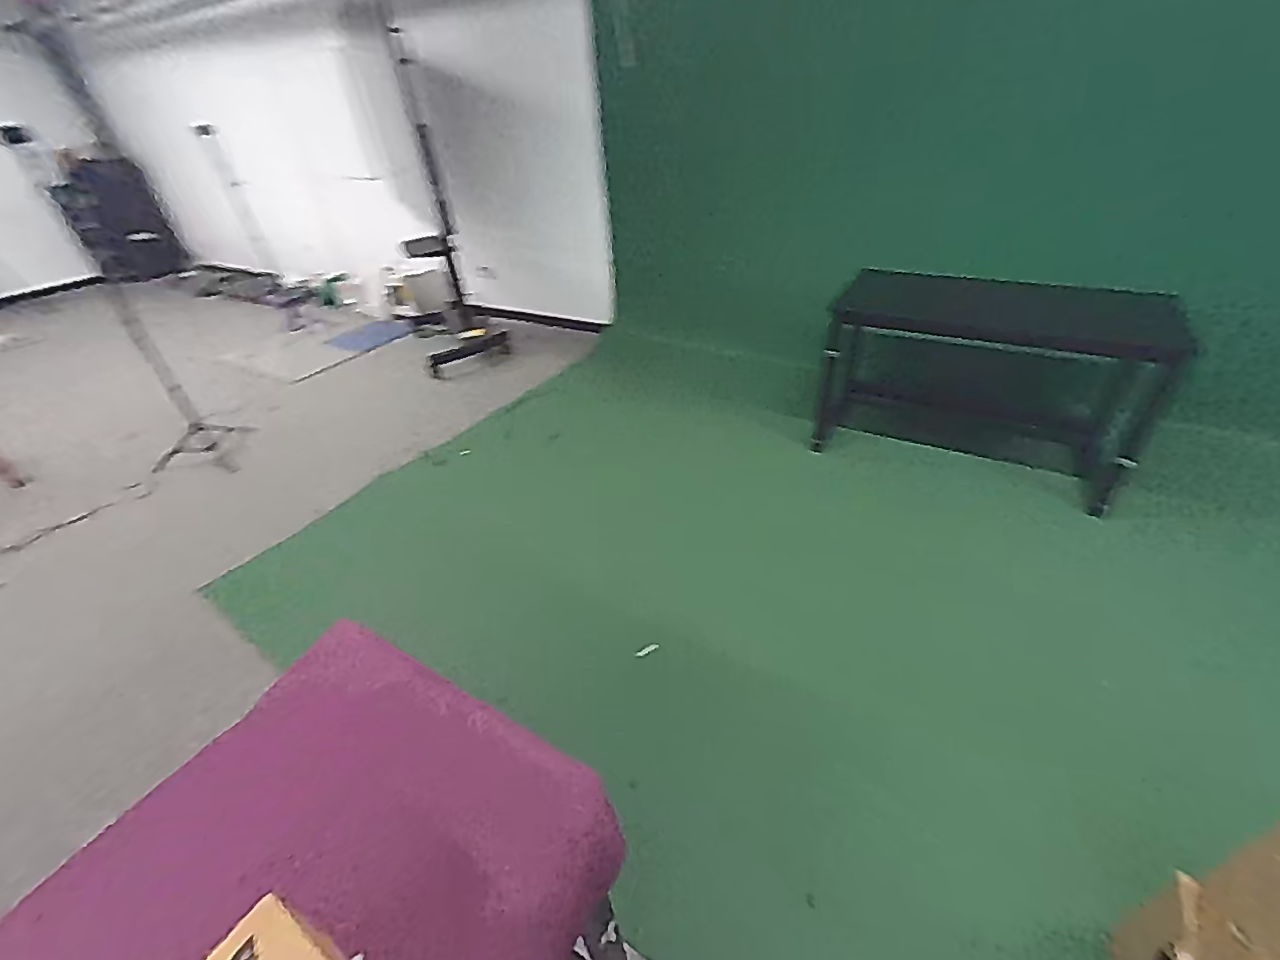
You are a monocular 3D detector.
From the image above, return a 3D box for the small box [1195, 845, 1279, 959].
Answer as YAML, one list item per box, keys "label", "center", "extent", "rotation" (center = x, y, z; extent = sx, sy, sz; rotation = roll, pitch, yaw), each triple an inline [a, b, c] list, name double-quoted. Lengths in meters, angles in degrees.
- label: "small box"
  center: [1.004, 0.721, 0.826]
  extent: [0.168, 0.176, 0.179]
  rotation: [19, 42, 28]

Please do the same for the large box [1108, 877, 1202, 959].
- label: "large box"
  center: [1.082, 0.972, 0.882]
  extent: [0.408, 0.320, 0.320]
  rotation: [18, 42, 28]

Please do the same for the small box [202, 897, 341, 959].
- label: "small box"
  center: [-0.350, 0.553, 0.504]
  extent: [0.179, 0.176, 0.168]
  rotation: [17, 41, 28]
